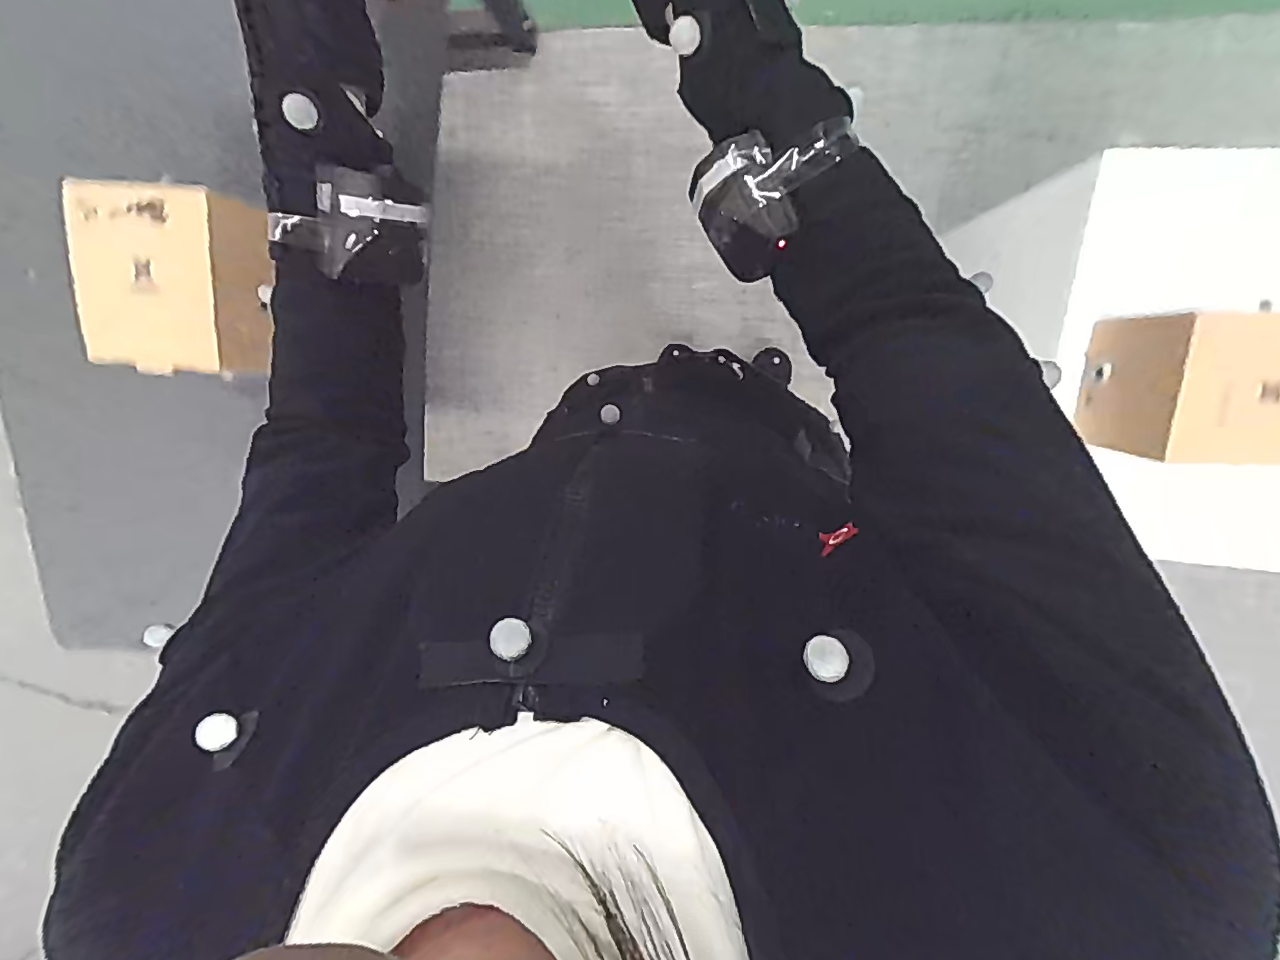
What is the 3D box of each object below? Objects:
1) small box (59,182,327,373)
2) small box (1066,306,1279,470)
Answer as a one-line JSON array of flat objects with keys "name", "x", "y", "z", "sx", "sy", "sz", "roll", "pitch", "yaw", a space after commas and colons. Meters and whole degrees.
[{"name": "small box", "x": -0.494, "y": -0.225, "z": 0.628, "sx": 0.168, "sy": 0.176, "sz": 0.179, "roll": 7, "pitch": 105, "yaw": 8}, {"name": "small box", "x": 0.647, "y": -0.110, "z": 0.622, "sx": 0.179, "sy": 0.176, "sz": 0.168, "roll": 2, "pitch": 103, "yaw": 9}]
